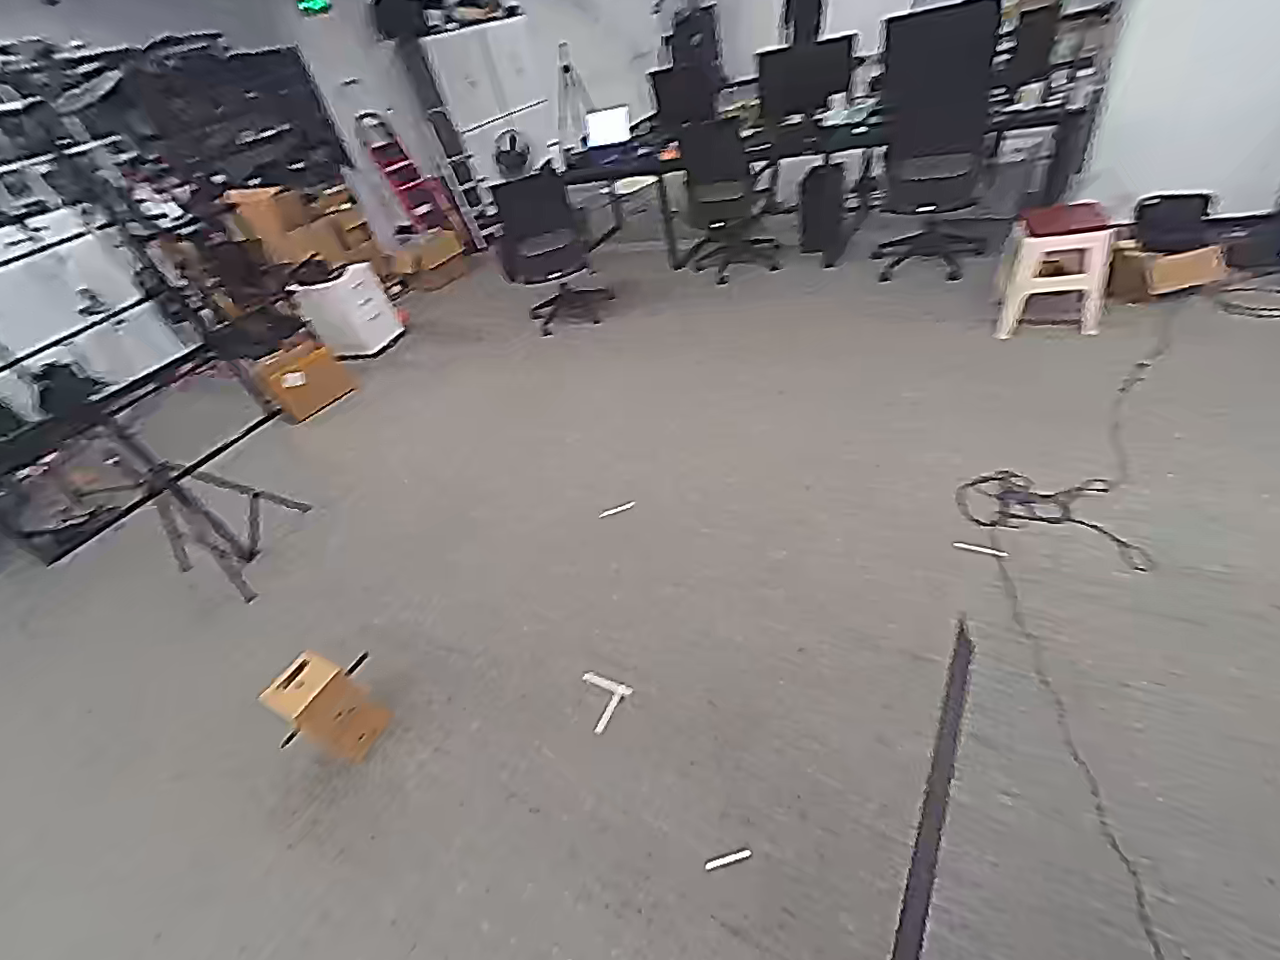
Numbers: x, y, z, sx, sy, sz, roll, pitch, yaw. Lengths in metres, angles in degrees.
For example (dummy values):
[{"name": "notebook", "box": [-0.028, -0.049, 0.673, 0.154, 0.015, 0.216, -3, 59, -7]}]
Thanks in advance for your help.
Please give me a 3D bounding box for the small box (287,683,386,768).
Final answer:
[{"name": "small box", "box": [-0.955, 0.781, 1.713, 0.179, 0.176, 0.168, 7, 45, 26]}]
